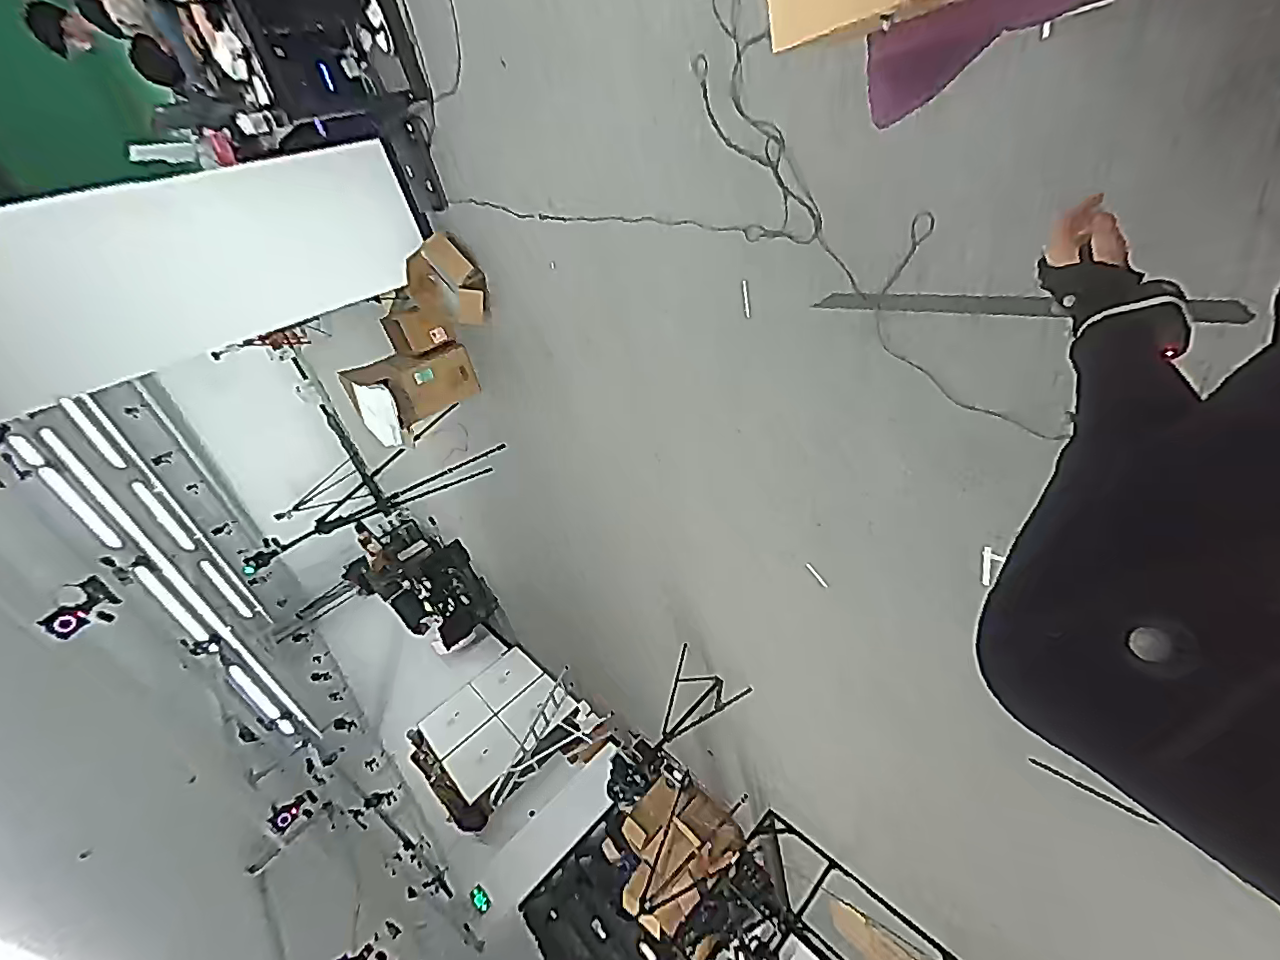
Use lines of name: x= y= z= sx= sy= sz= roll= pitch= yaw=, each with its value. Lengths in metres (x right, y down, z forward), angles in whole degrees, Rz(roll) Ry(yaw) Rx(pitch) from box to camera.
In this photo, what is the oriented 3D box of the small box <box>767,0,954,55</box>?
small box: x=0.264 y=-0.628 z=0.631 sx=0.179 sy=0.176 sz=0.168 roll=18 pitch=134 yaw=45
